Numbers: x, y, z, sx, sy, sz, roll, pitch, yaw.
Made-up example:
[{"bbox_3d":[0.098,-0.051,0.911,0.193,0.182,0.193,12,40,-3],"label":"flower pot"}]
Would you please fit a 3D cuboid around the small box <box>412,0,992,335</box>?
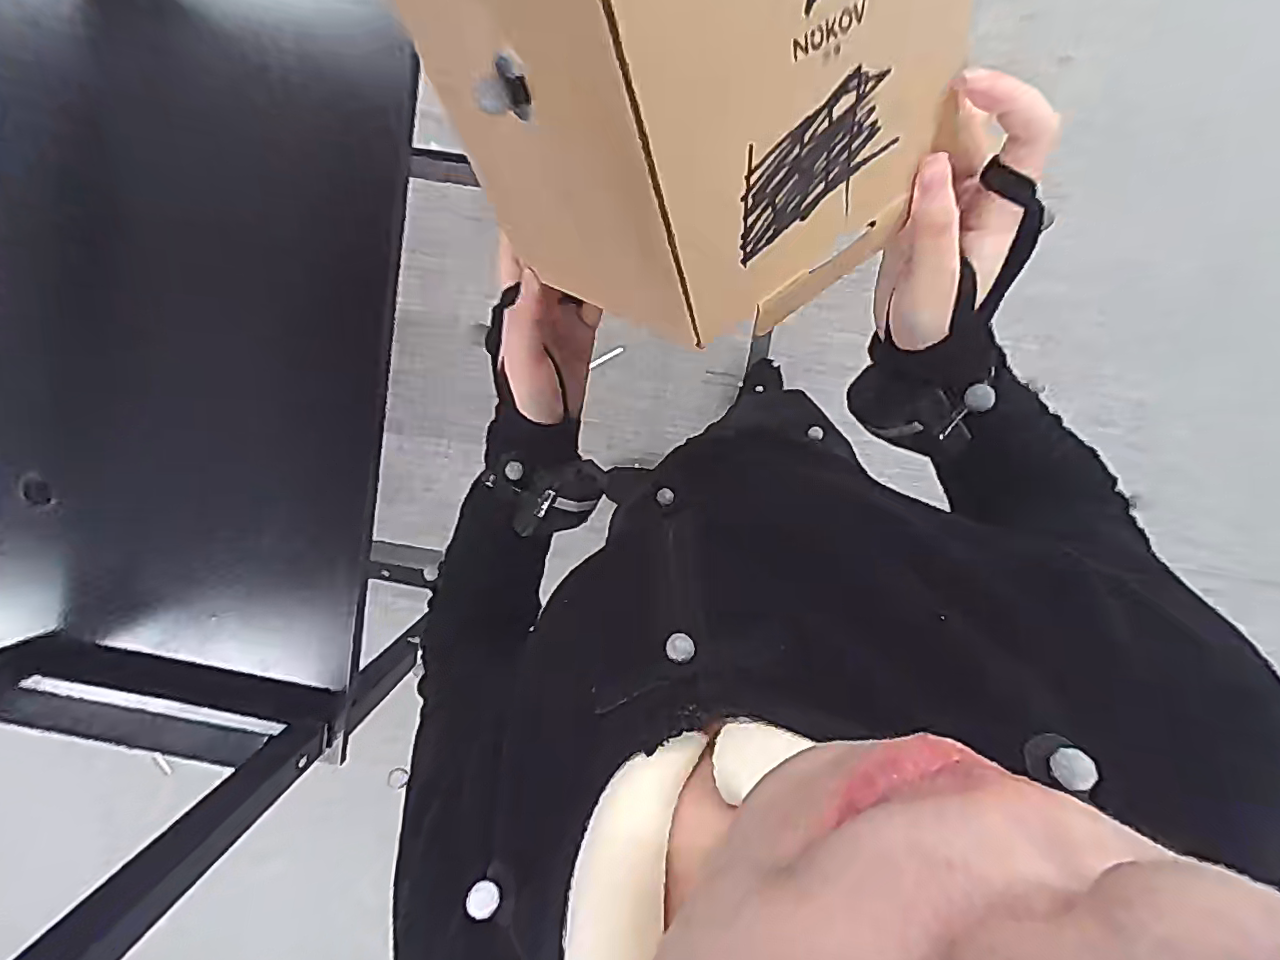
[{"bbox_3d":[0.018,-0.194,0.230,0.168,0.176,0.179,-37,132,-15],"label":"small box"}]
